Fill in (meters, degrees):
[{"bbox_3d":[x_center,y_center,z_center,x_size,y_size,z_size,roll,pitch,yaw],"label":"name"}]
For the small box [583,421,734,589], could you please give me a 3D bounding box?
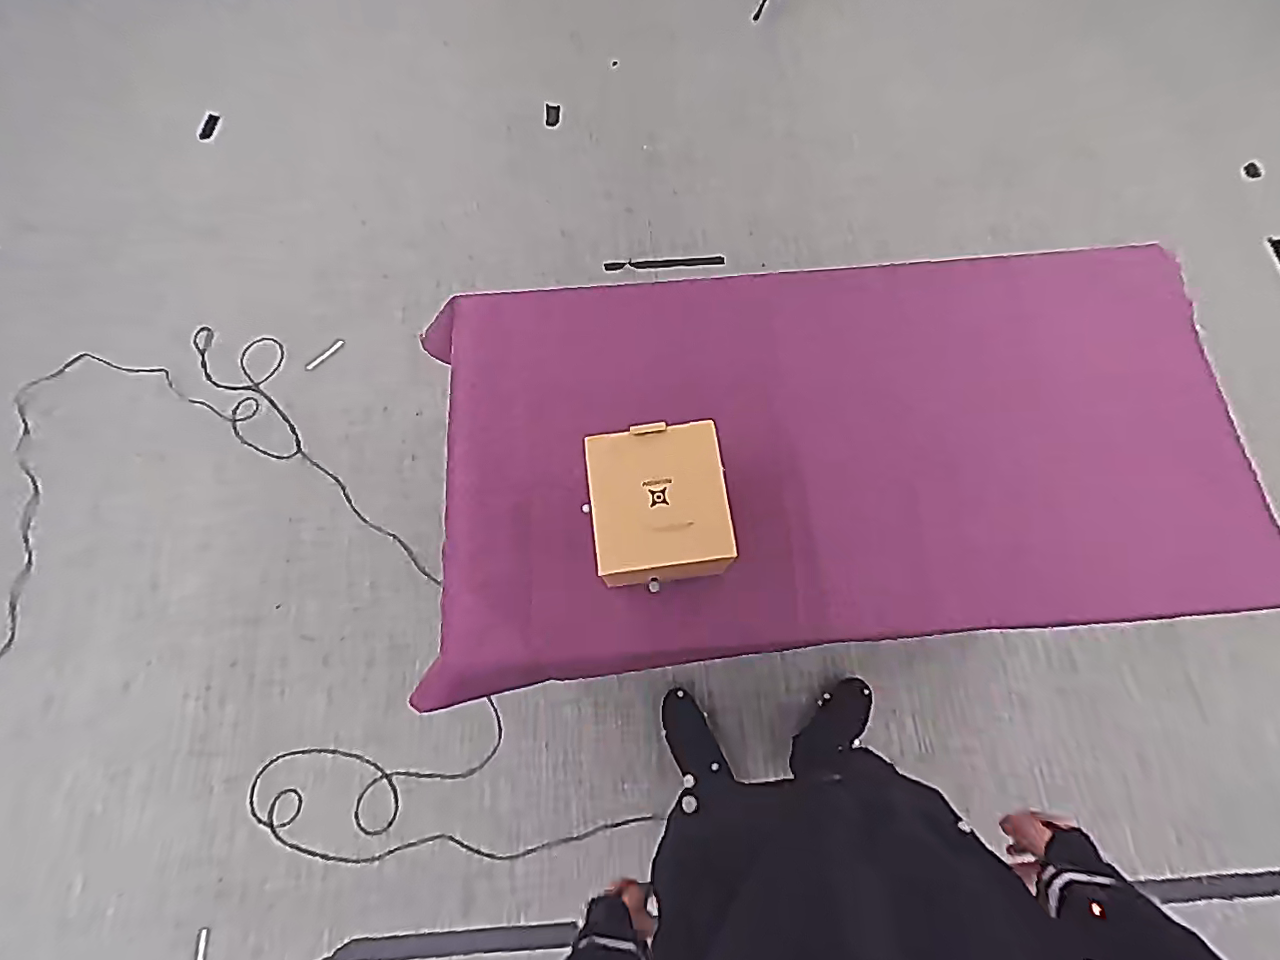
[{"bbox_3d":[0.020,0.041,0.720,0.168,0.176,0.179,-7,73,0],"label":"small box"}]
